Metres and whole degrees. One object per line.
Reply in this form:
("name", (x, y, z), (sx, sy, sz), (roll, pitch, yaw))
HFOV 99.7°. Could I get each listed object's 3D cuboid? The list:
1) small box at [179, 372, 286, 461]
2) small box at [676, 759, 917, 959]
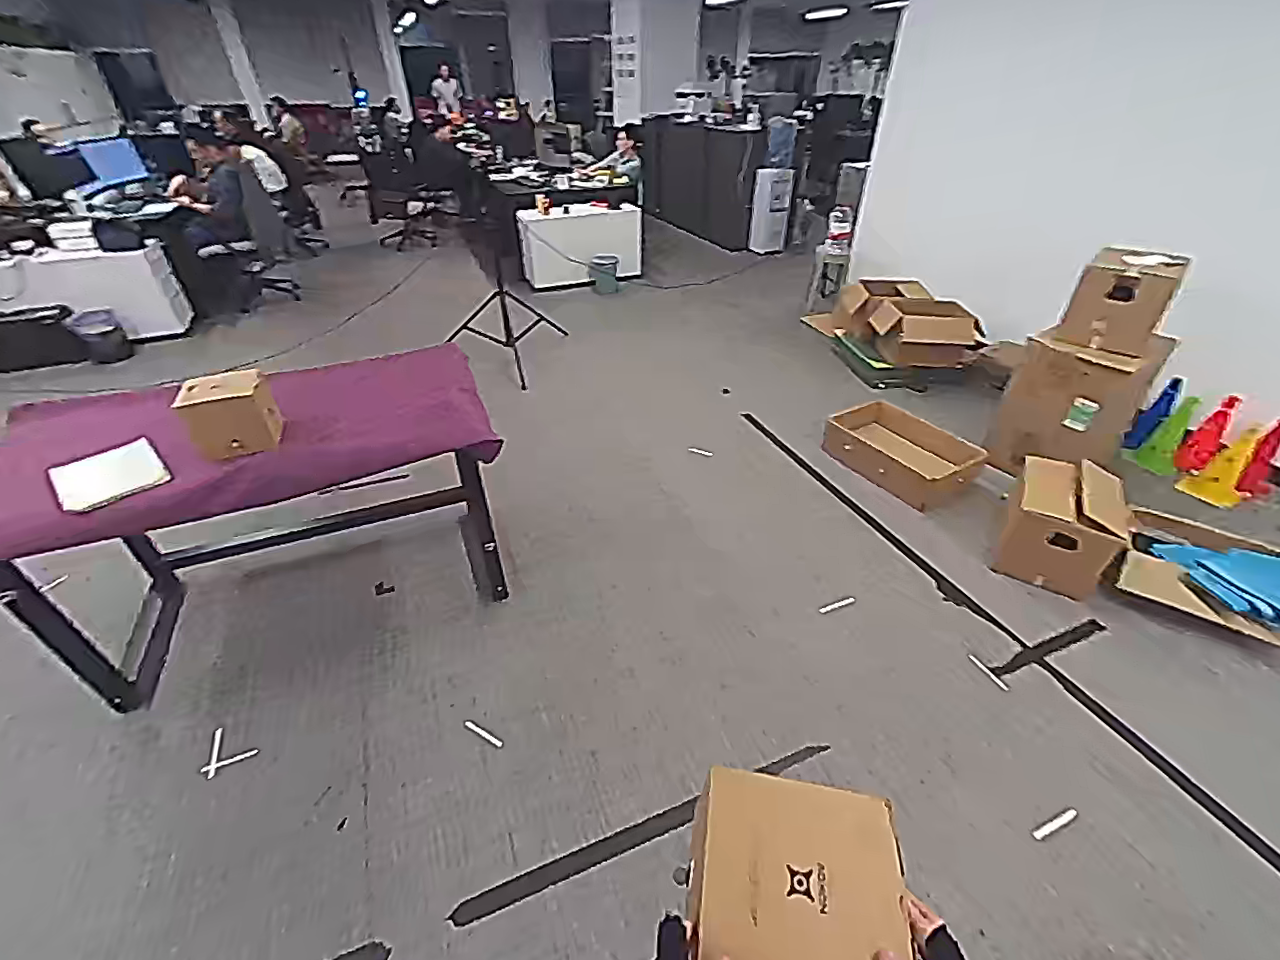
("small box", (-1.090, -0.173, 1.465), (0.179, 0.176, 0.168), (-14, 38, -19))
("small box", (0.134, 0.394, 0.511), (0.179, 0.176, 0.168), (7, 42, 5))
